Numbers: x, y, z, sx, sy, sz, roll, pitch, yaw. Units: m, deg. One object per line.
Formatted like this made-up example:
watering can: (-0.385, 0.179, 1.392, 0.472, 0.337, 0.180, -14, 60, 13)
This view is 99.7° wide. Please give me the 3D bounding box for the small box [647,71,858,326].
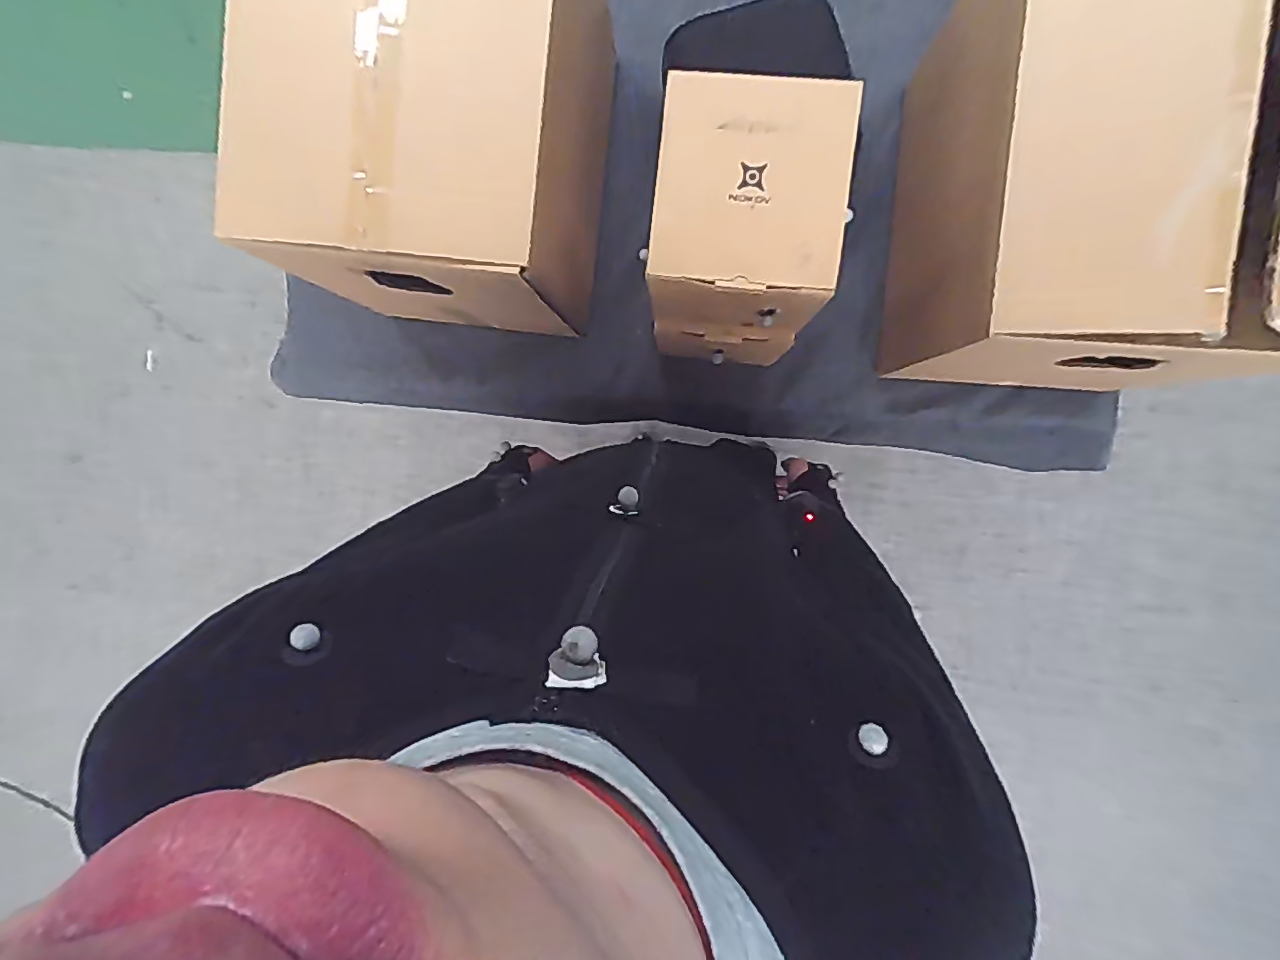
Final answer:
small box: (0.100, -0.263, 0.546, 0.168, 0.176, 0.179, 6, 93, 2)
